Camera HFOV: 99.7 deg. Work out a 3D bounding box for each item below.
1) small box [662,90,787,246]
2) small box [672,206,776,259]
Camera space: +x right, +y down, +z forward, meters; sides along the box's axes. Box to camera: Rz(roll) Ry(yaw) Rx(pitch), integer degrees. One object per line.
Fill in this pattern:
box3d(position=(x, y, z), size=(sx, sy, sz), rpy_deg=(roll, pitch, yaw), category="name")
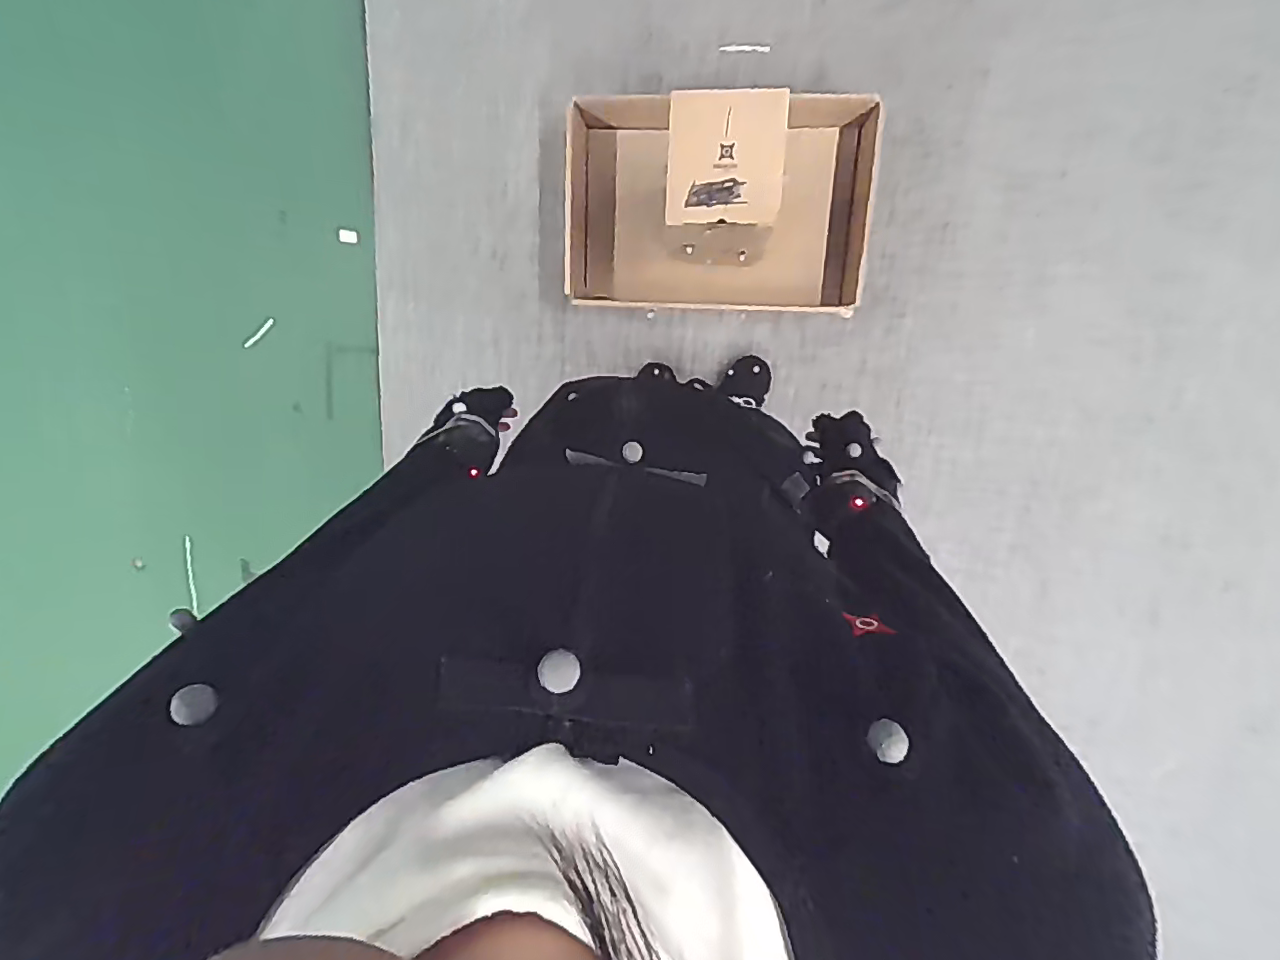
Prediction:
box3d(position=(0.128, -0.473, 0.845), size=(0.168, 0.176, 0.179), rpy_deg=(4, 102, 6), category="small box")
box3d(position=(0.150, -0.505, 0.988), size=(0.179, 0.176, 0.168), rpy_deg=(1, 103, 7), category="small box")
